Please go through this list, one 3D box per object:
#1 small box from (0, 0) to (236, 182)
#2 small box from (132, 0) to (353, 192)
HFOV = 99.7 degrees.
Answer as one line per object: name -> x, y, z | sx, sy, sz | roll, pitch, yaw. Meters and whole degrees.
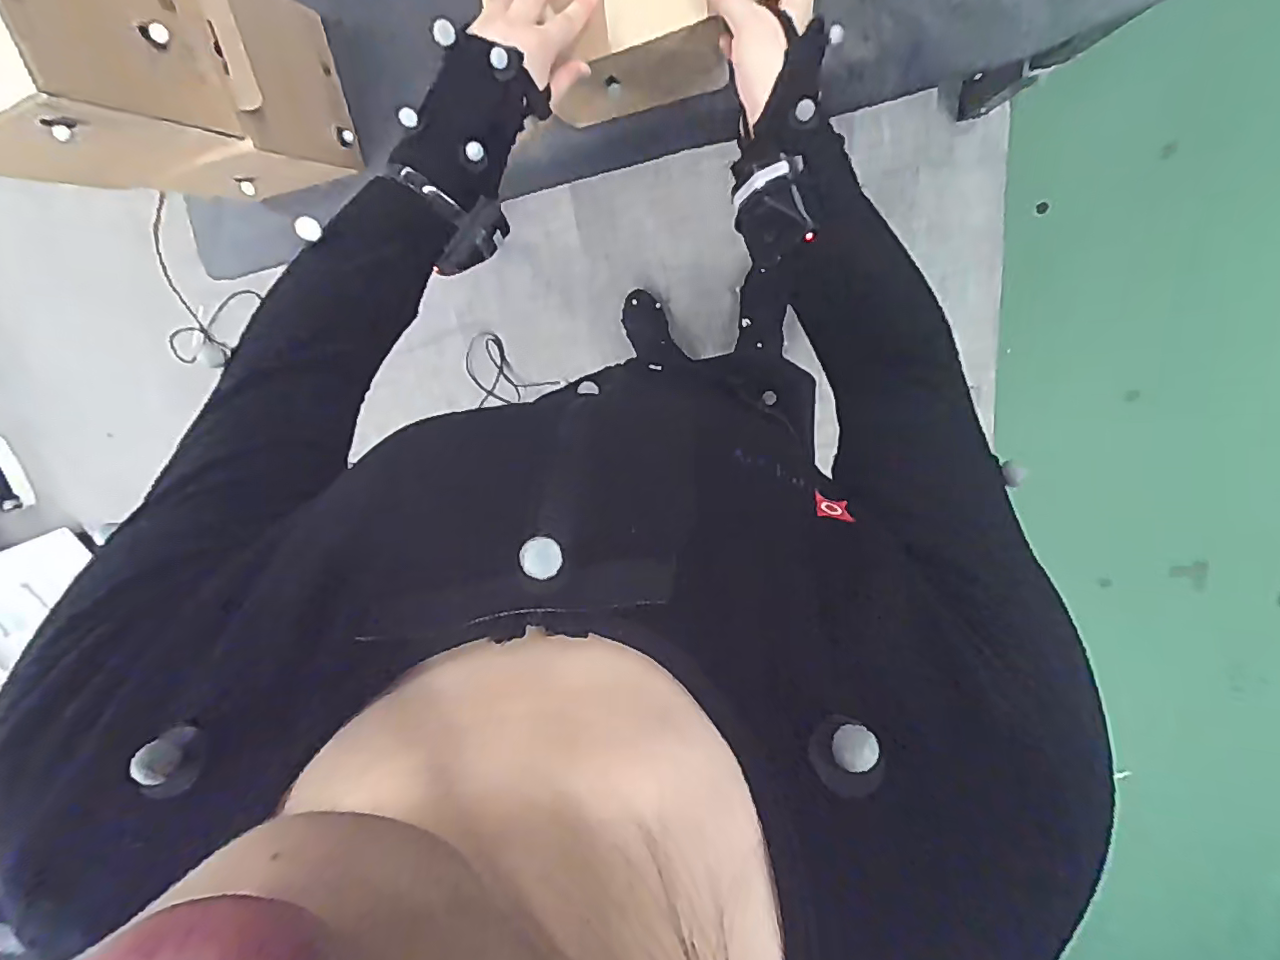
small box -> -0.499, -0.365, 0.448 | 0.179, 0.176, 0.168 | -9, 110, 16
small box -> -0.451, -0.426, 0.592 | 0.179, 0.176, 0.168 | -4, 112, 15
